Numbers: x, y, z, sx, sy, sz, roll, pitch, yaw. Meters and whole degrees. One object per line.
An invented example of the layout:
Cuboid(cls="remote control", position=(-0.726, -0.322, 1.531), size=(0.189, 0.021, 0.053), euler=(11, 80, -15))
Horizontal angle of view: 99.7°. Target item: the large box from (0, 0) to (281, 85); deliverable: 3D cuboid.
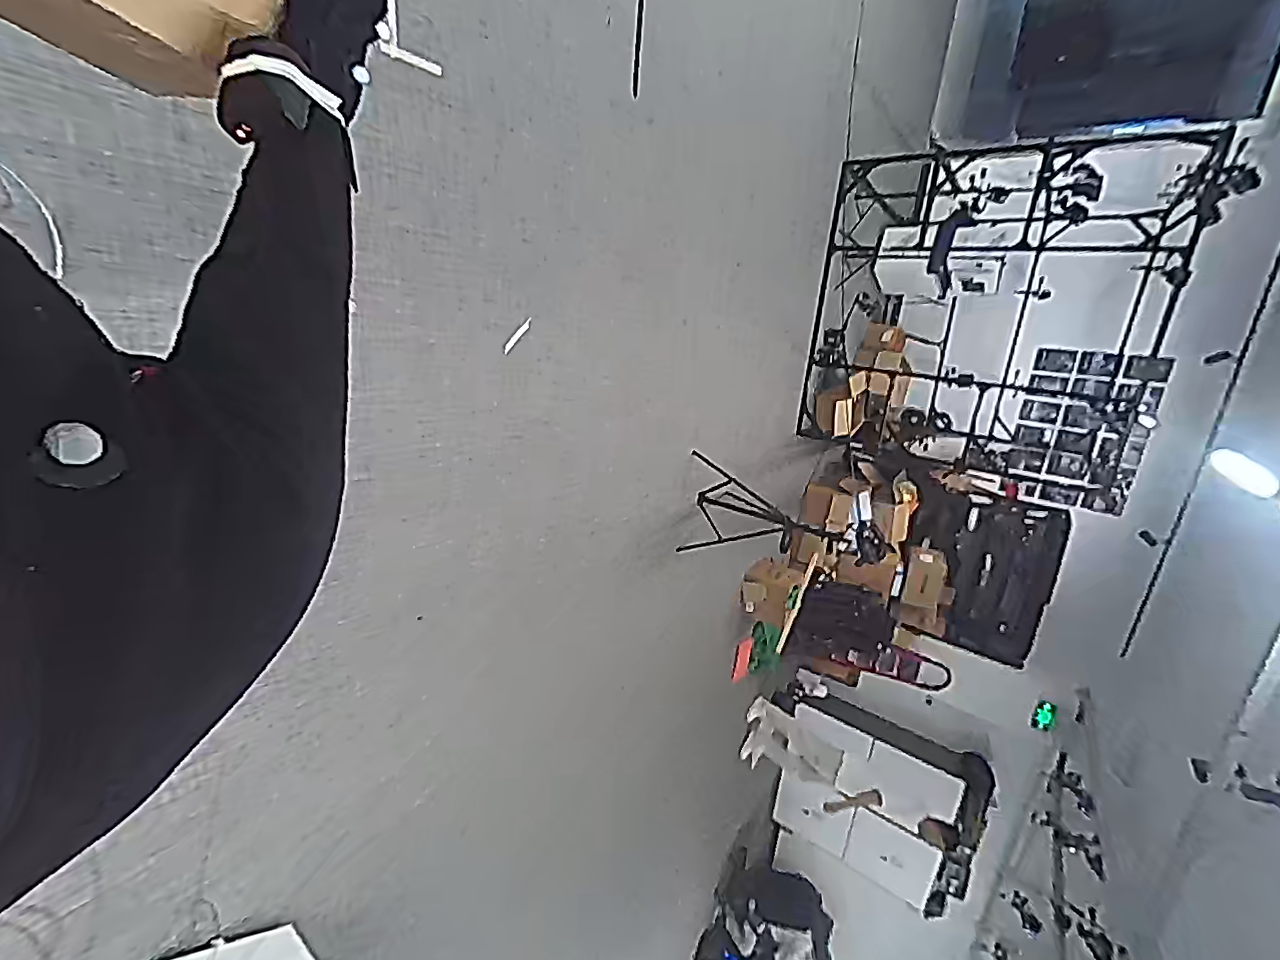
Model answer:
Cuboid(cls="large box", position=(-0.490, -0.533, 0.339), size=(0.408, 0.320, 0.320), euler=(5, 109, -58))
